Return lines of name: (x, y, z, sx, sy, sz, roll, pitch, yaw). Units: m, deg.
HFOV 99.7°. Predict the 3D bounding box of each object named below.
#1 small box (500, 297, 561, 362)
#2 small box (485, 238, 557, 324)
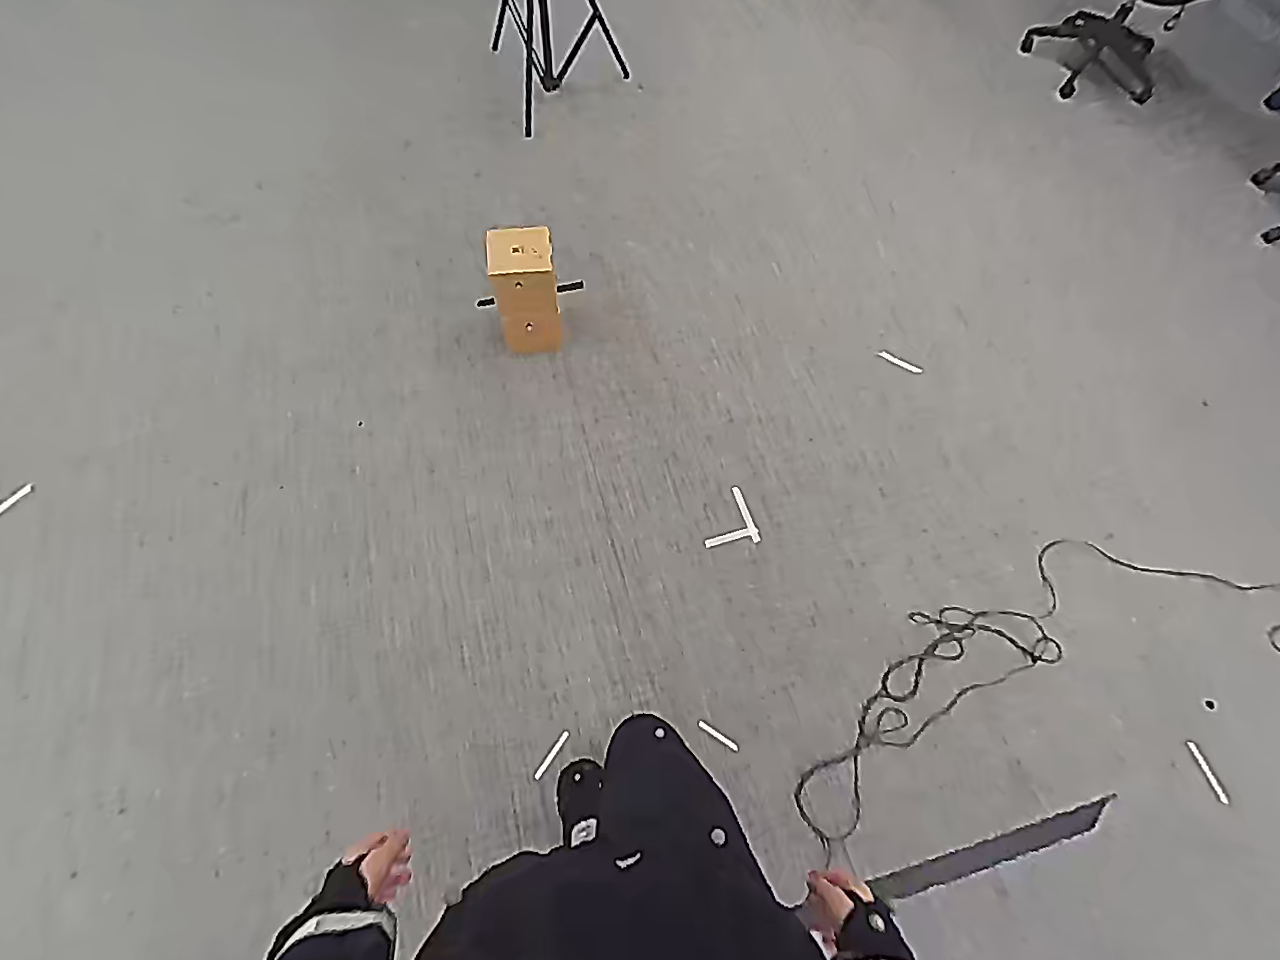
small box: (-0.346, -0.494, 1.704, 0.179, 0.176, 0.168, -8, 66, -7)
small box: (-0.340, -0.569, 1.558, 0.179, 0.176, 0.168, -6, 67, -6)
